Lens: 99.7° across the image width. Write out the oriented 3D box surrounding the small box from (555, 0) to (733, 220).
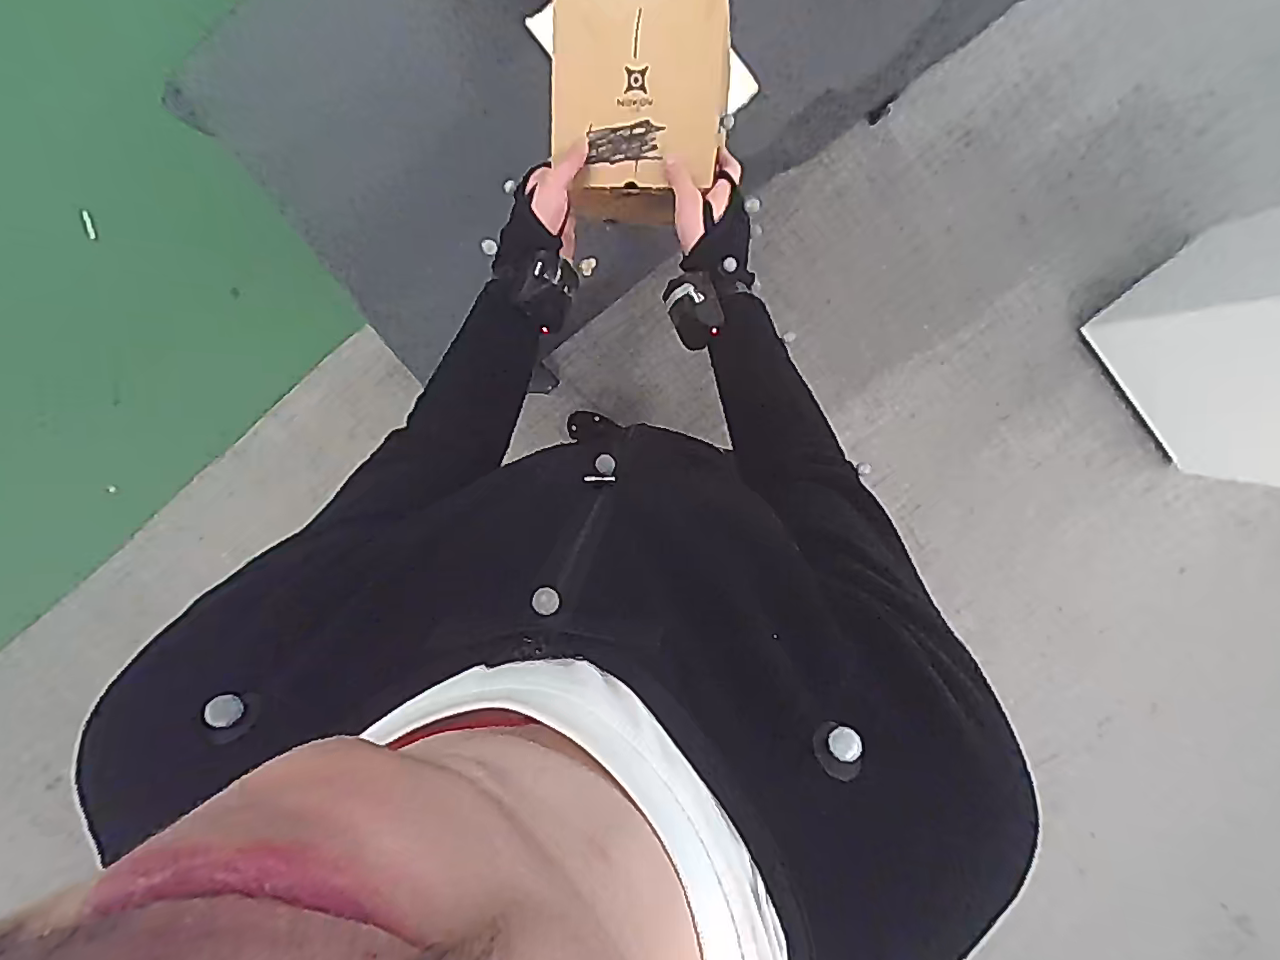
[{"bbox_3d":[0.011,-0.394,0.592,0.168,0.176,0.179,6,105,8],"label":"small box"}]
